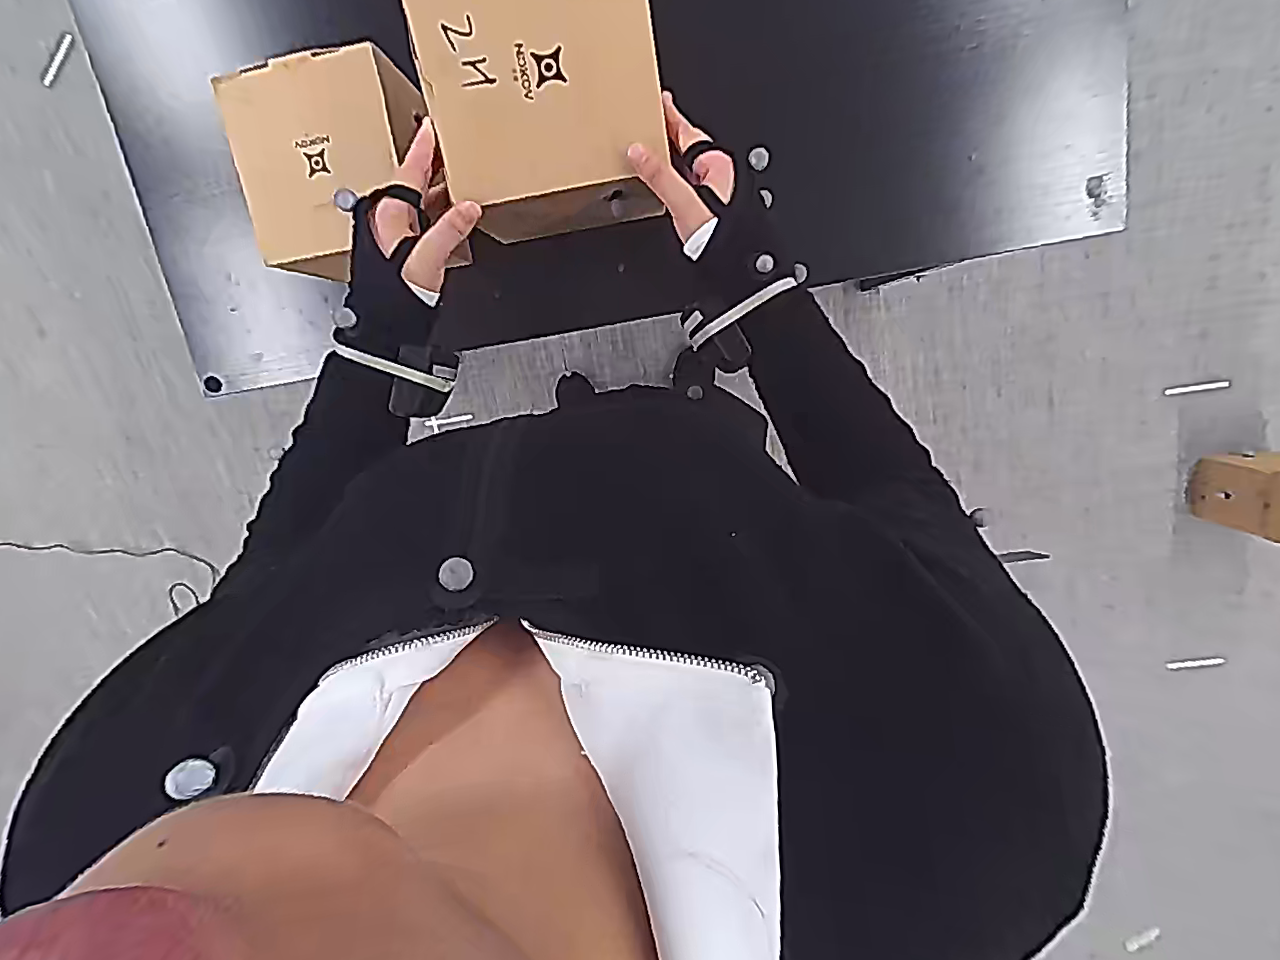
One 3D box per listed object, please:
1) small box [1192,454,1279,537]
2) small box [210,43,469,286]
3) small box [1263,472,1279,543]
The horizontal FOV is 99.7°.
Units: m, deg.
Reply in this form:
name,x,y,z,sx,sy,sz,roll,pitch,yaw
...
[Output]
name,x,y,z,sx,sy,sz,roll,pitch,yaw
small box,1.553,0.034,1.355,0.179,0.176,0.168,-6,103,4
small box,-0.310,-0.327,0.600,0.168,0.176,0.179,-9,103,5
small box,1.554,0.072,1.193,0.168,0.176,0.179,-7,103,4
